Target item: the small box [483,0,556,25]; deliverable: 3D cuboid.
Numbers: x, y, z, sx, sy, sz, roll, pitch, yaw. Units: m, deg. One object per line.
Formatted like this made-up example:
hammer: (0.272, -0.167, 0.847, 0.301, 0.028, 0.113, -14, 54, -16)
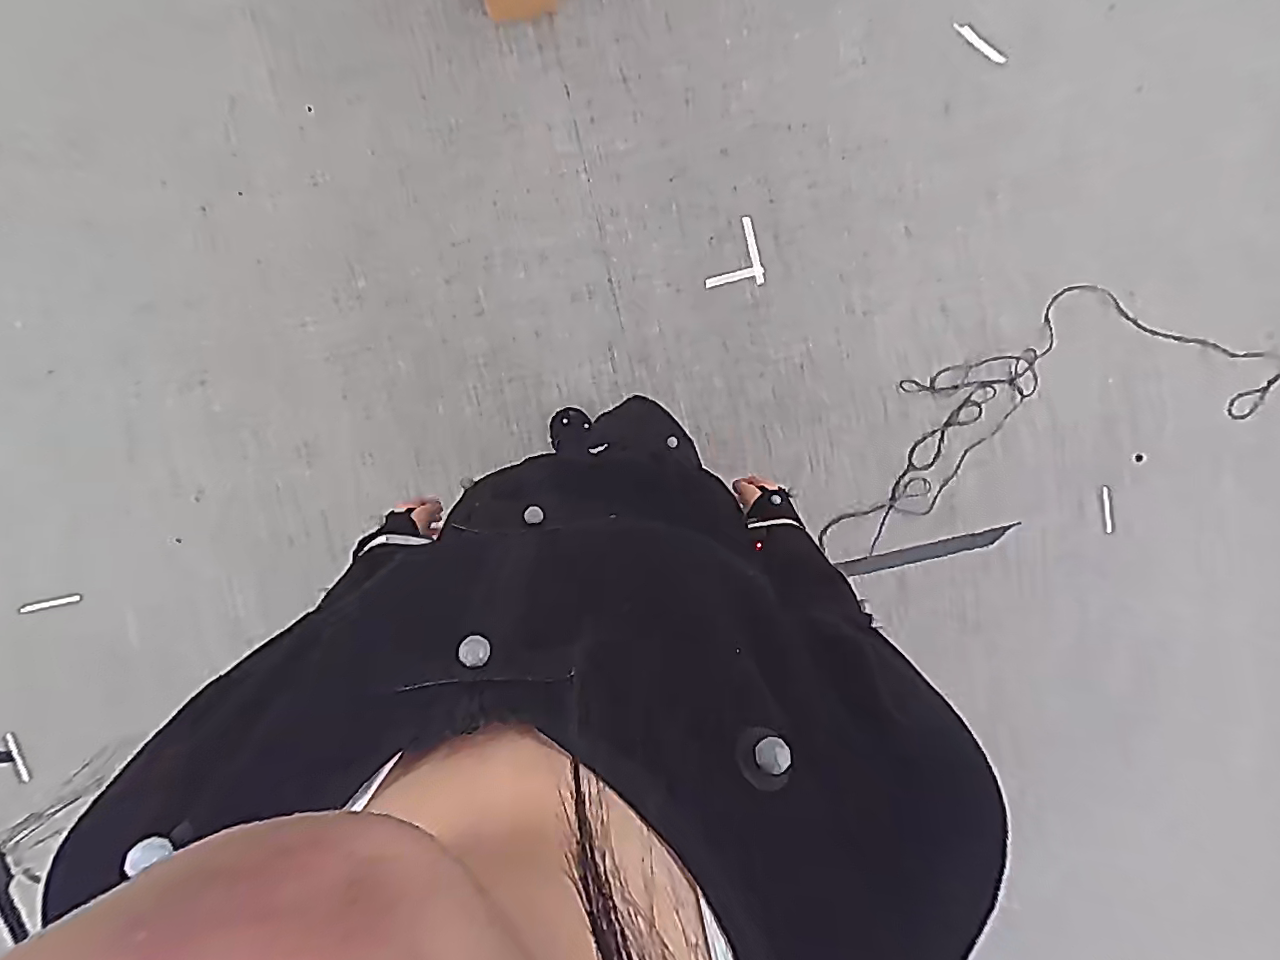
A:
small box: (-0.294, -1.203, 1.244, 0.179, 0.176, 0.168, -13, 98, -2)
